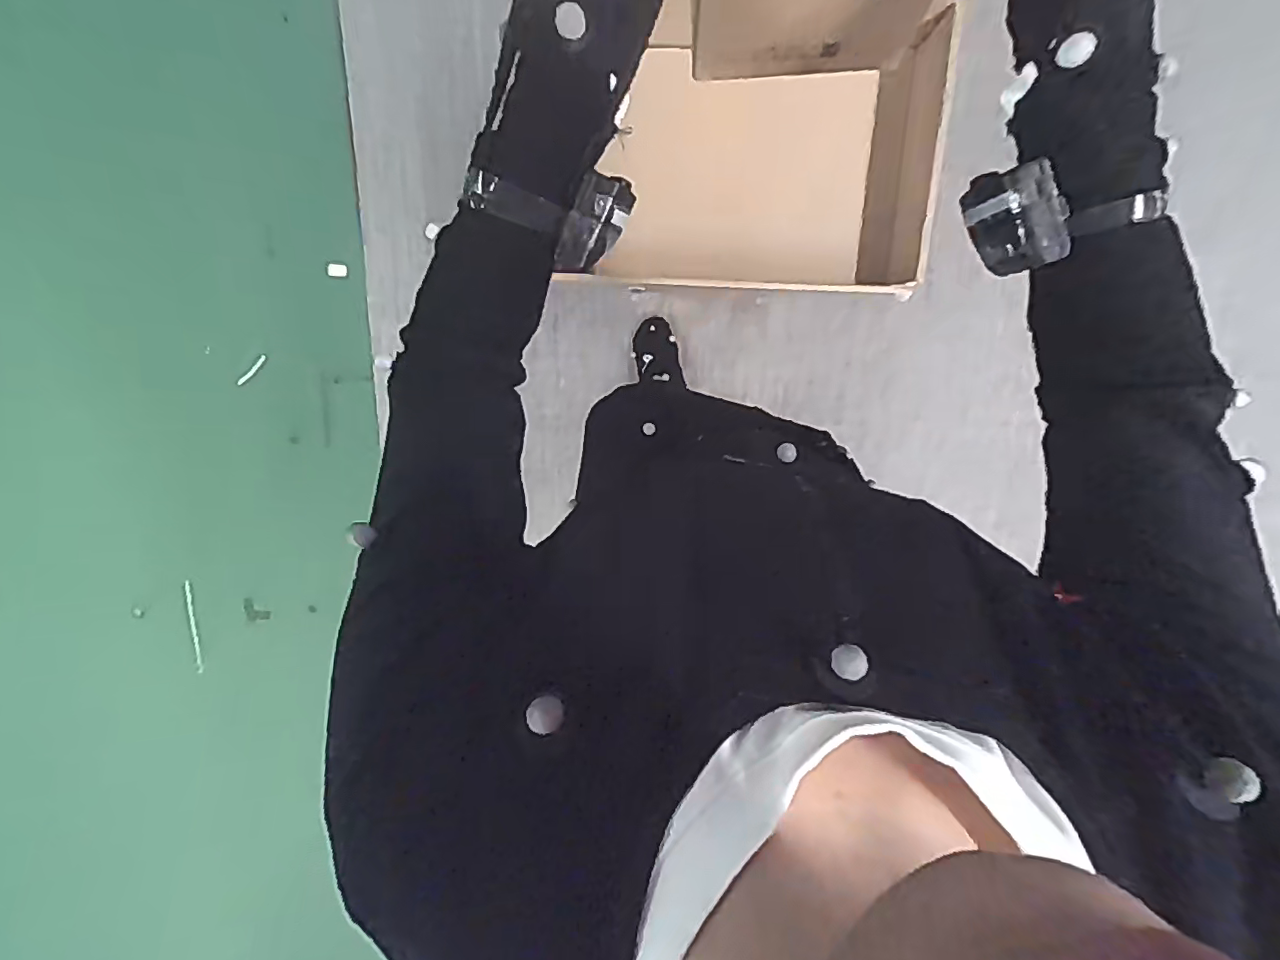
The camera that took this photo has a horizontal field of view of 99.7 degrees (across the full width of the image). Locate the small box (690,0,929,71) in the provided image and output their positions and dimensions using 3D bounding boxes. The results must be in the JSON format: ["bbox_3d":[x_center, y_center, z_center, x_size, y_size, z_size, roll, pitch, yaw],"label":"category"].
[{"bbox_3d":[0.120,-0.408,0.355,0.168,0.176,0.179,-2,89,2],"label":"small box"}]
